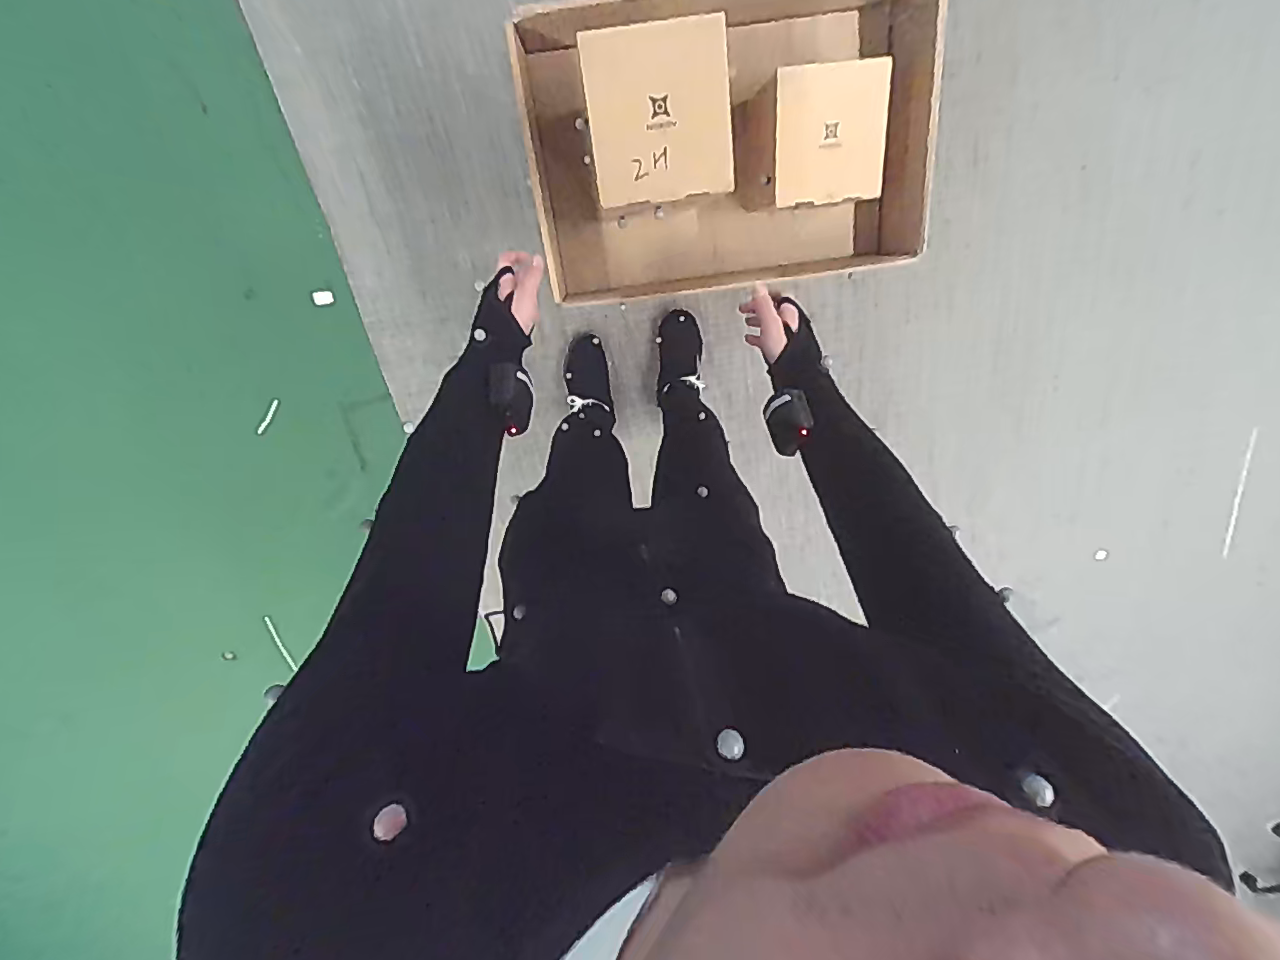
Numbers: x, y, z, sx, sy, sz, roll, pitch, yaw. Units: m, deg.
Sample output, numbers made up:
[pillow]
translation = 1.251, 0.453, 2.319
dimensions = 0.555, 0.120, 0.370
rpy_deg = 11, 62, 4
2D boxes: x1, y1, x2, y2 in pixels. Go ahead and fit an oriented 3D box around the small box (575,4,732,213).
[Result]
[small box]
translation = 0.016, -0.448, 0.681
dimensions = 0.168, 0.176, 0.179
rpy_deg = -8, 114, 2
